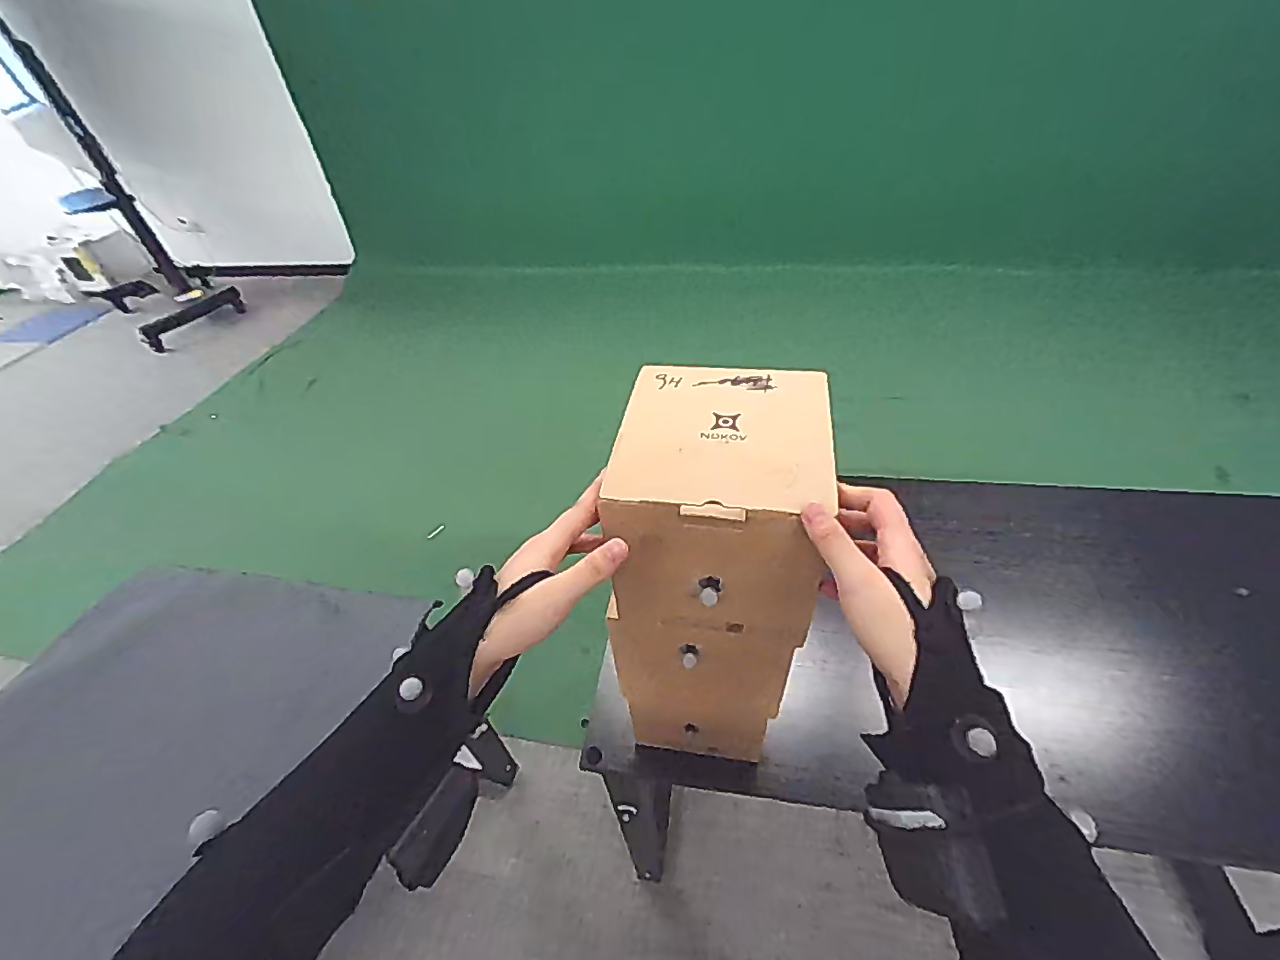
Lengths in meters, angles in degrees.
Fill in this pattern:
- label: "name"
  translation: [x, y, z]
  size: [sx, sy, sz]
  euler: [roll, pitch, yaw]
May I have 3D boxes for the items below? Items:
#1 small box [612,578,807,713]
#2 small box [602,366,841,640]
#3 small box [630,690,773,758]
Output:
- label: "small box"
  translation: [0.079, 0.136, 0.591]
  size: [0.179, 0.176, 0.168]
  euler: [3, 45, 10]
- label: "small box"
  translation: [0.076, 0.020, 0.476]
  size: [0.168, 0.176, 0.179]
  euler: [4, 46, 11]
- label: "small box"
  translation: [0.088, 0.242, 0.715]
  size: [0.168, 0.176, 0.179]
  euler: [4, 44, 10]
